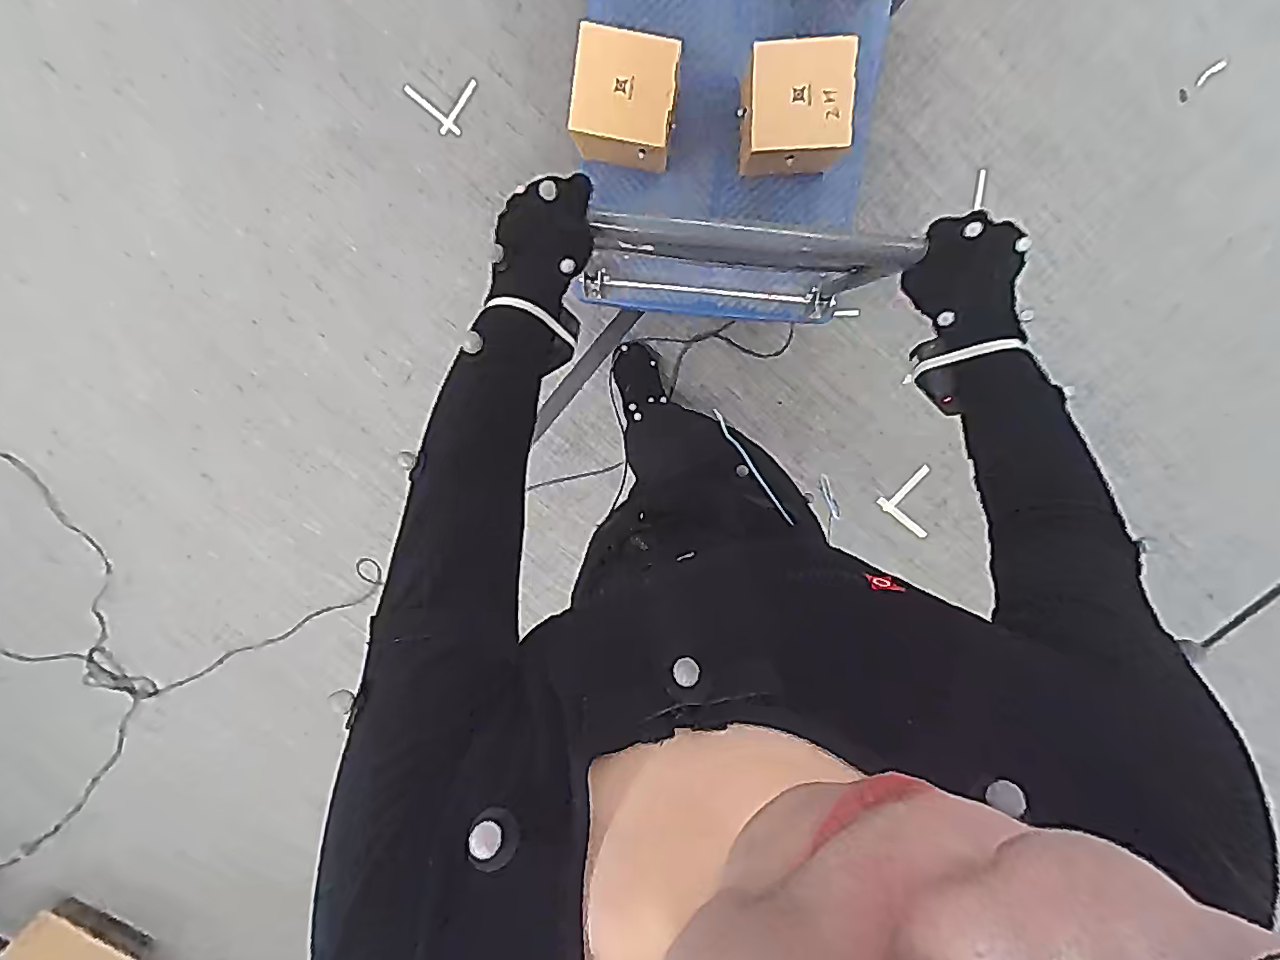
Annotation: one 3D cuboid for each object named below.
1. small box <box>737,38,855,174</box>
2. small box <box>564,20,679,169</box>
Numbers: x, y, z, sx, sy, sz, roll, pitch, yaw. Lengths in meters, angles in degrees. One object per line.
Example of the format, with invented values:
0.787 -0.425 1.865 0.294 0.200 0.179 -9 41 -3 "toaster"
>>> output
0.276 -0.678 0.999 0.179 0.176 0.168 0 107 3 "small box"
-0.031 -0.702 1.007 0.179 0.176 0.168 11 106 -2 "small box"
